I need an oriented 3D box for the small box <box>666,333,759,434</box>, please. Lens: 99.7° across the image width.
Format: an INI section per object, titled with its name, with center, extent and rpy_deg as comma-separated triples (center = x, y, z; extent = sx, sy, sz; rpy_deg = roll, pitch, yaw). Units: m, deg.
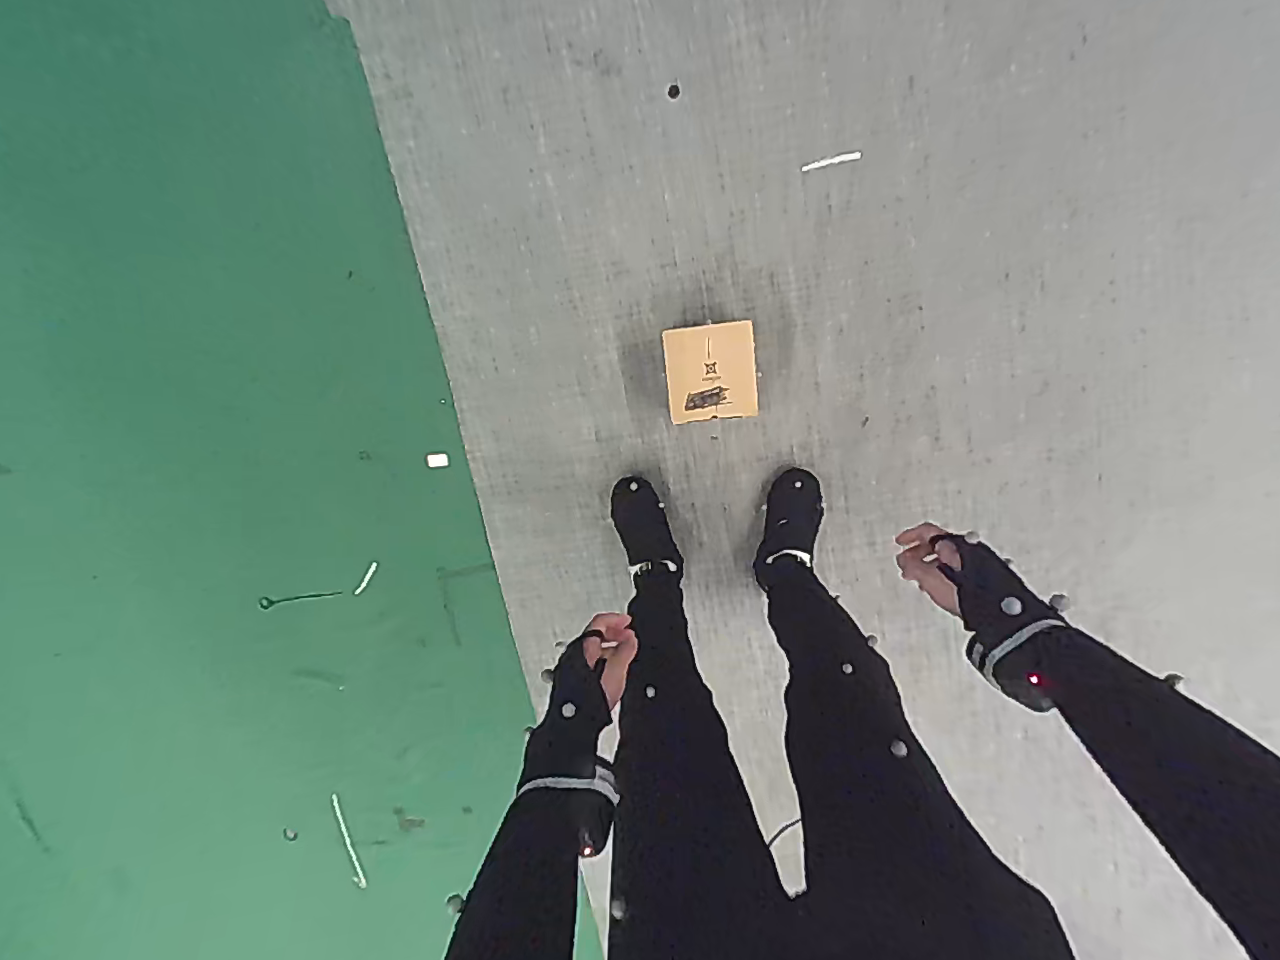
[small box]
center = 0.146, -0.196, 1.096
extent = 0.168, 0.176, 0.179
rpy_deg = -5, 100, 6
